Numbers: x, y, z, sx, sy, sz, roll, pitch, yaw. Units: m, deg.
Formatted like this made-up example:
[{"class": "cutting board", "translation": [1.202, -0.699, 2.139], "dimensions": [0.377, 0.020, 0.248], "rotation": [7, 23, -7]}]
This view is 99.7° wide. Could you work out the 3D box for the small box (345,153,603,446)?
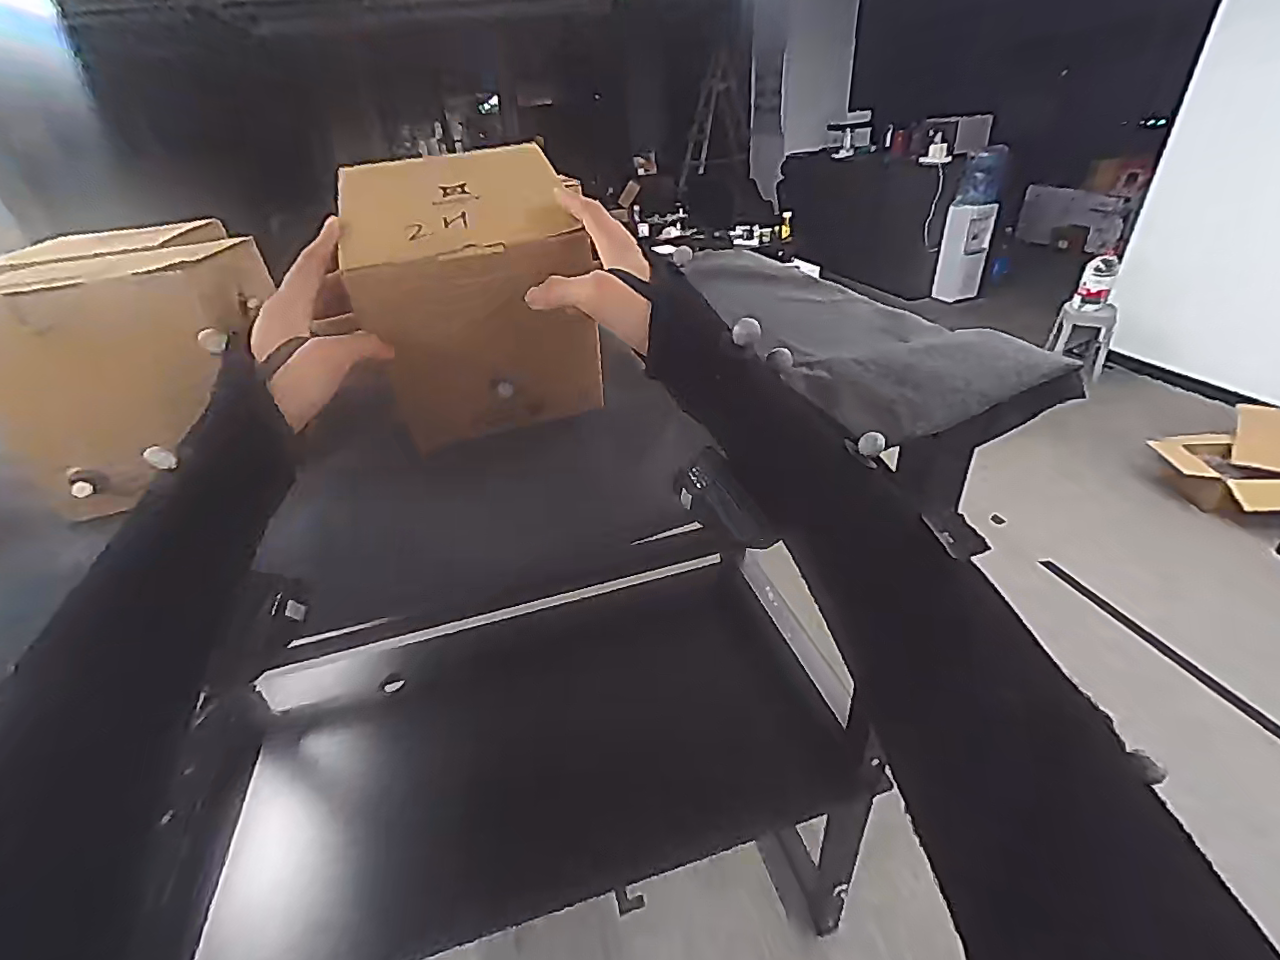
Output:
[{"class": "small box", "translation": [-0.135, -0.158, 0.471], "dimensions": [0.168, 0.176, 0.179], "rotation": [-15, 50, -12]}]
